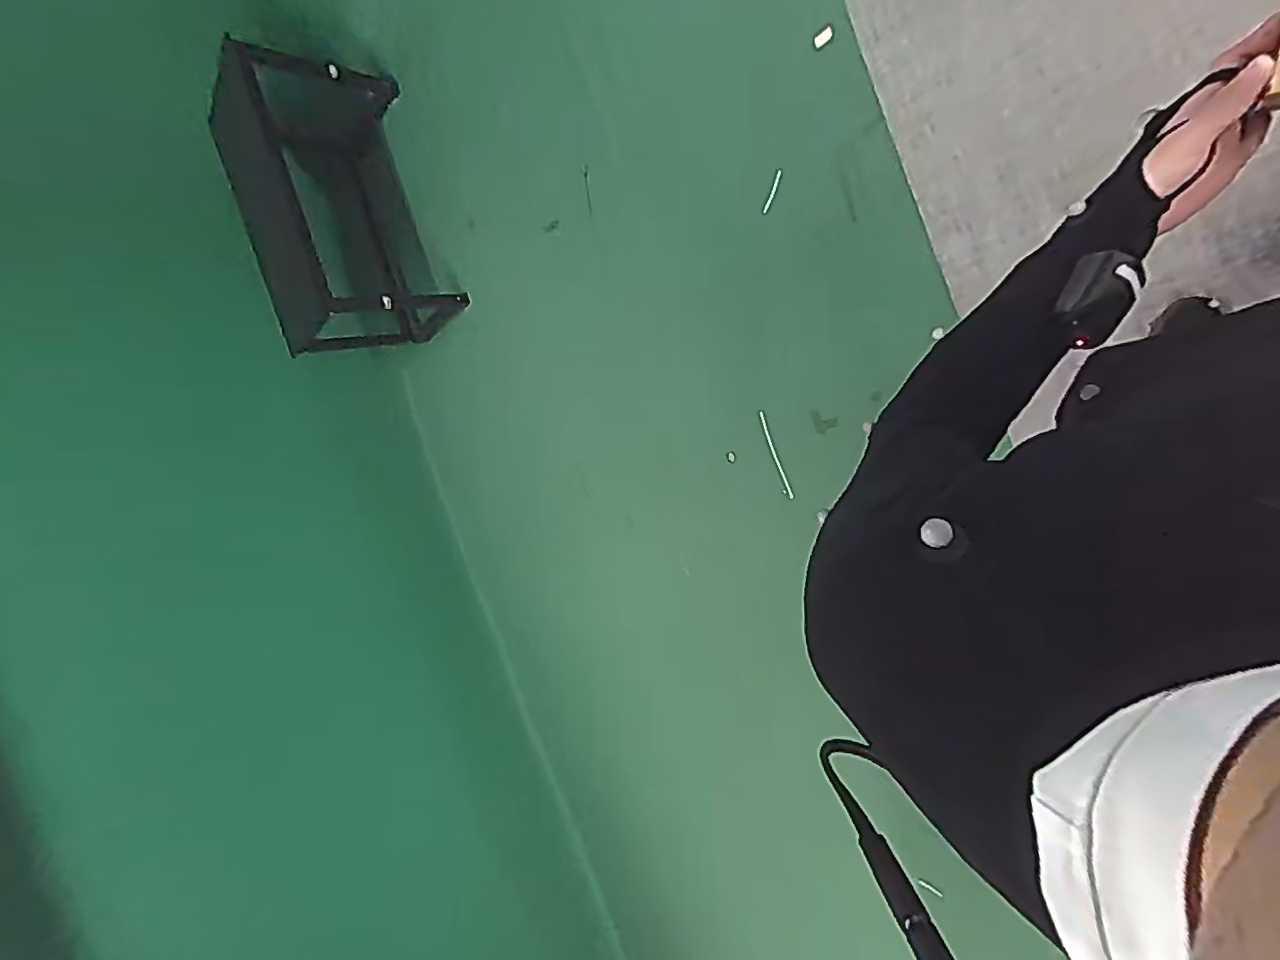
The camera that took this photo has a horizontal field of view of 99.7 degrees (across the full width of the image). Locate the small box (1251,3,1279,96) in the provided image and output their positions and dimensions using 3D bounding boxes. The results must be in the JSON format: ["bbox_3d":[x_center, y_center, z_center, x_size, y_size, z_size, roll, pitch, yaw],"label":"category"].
[{"bbox_3d":[0.515,-0.344,0.318,0.168,0.176,0.179,20,124,39],"label":"small box"}]
